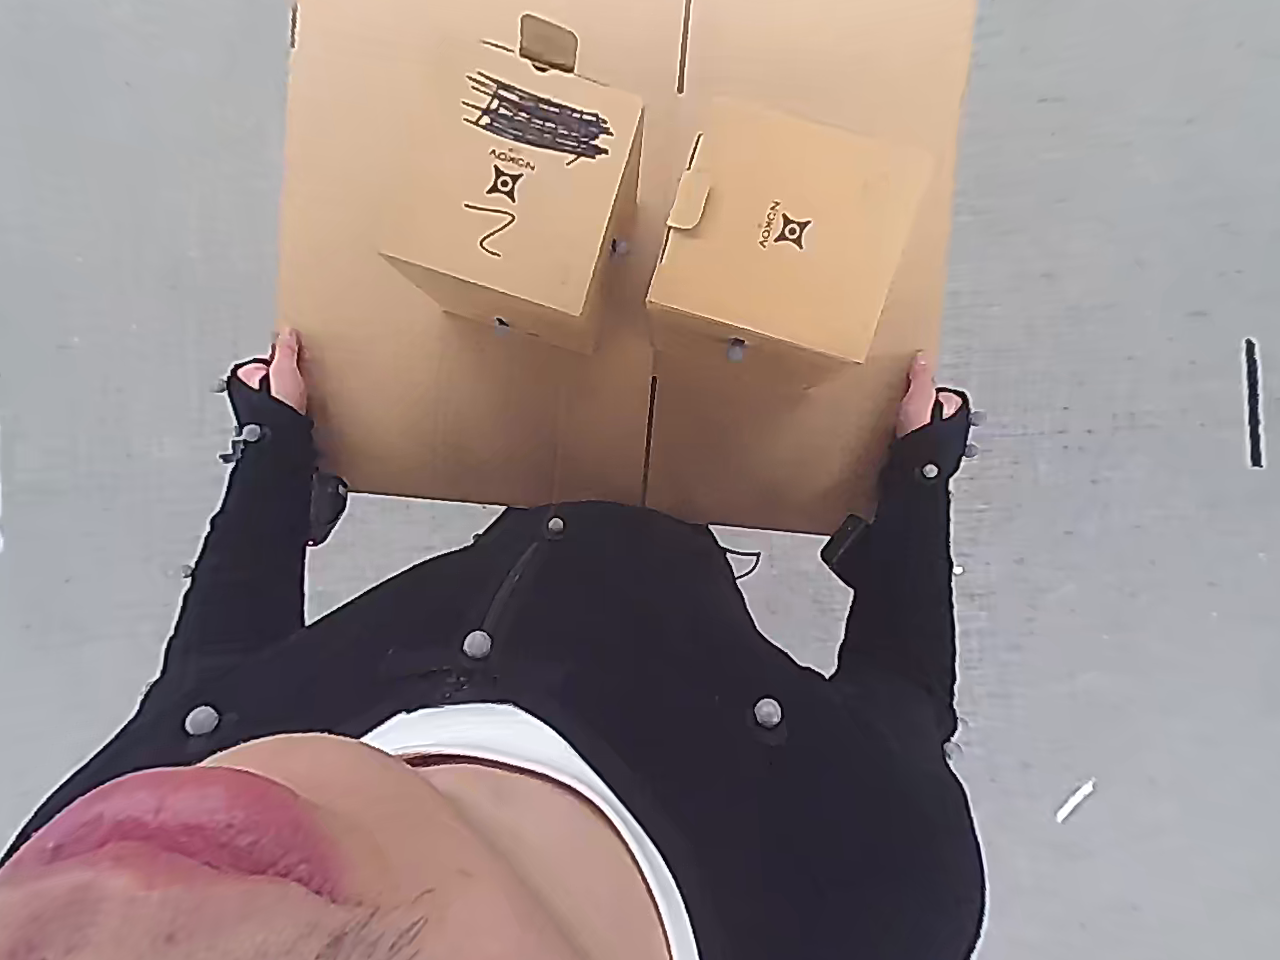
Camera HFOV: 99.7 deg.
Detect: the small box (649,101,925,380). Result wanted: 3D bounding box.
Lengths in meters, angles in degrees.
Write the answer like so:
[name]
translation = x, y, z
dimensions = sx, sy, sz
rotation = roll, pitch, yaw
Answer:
[small box]
translation = 0.120, -0.199, 0.504
dimensions = 0.179, 0.176, 0.168
rotation = 18, 93, 4
